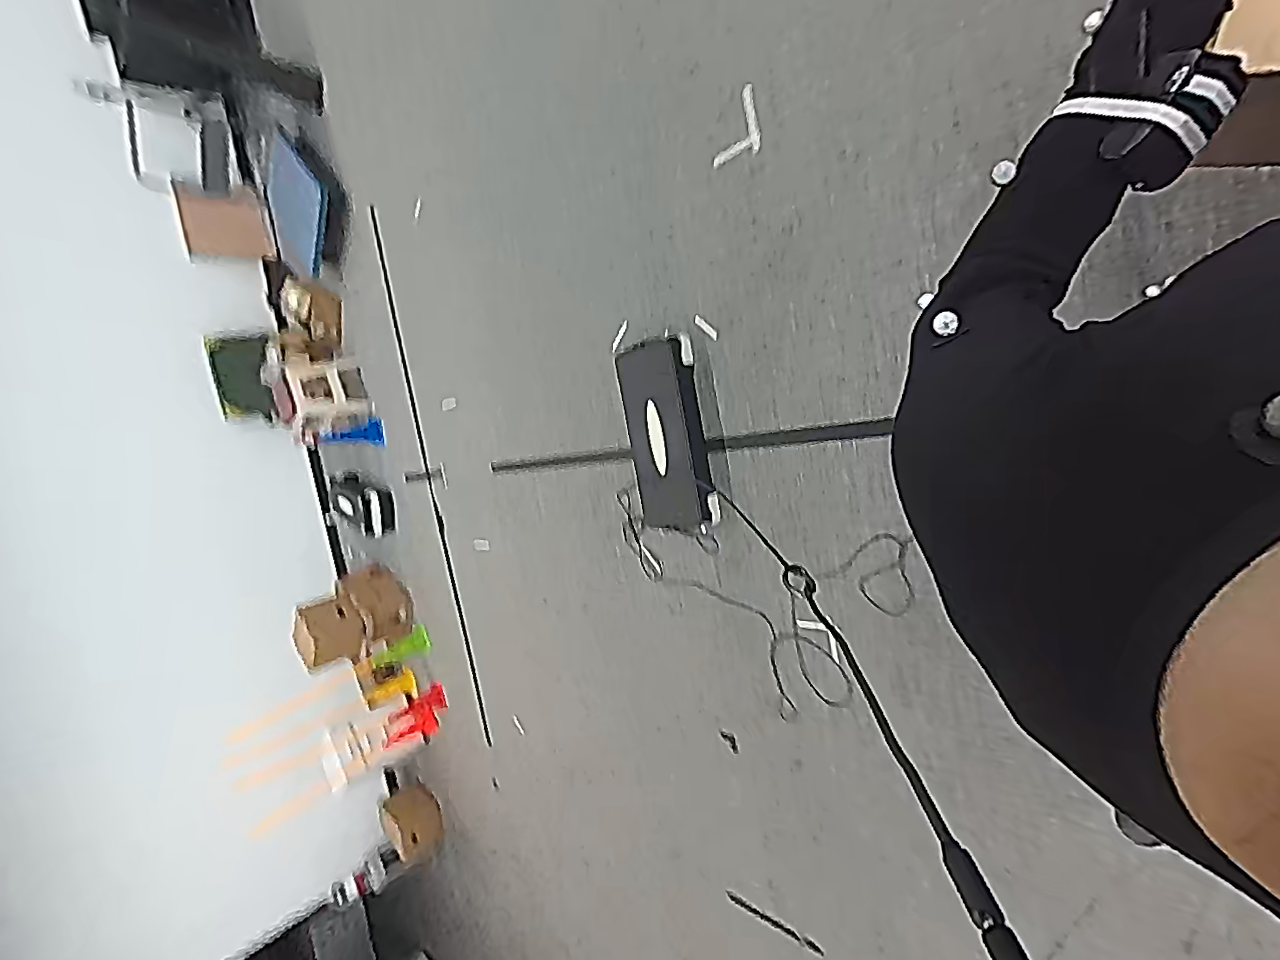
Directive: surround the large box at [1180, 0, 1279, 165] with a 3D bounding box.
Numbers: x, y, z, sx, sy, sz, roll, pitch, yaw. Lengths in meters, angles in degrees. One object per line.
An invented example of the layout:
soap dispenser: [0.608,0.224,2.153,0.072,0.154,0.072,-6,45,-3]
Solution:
large box: [0.620,-0.386,0.289,0.408,0.320,0.320,22,117,38]
